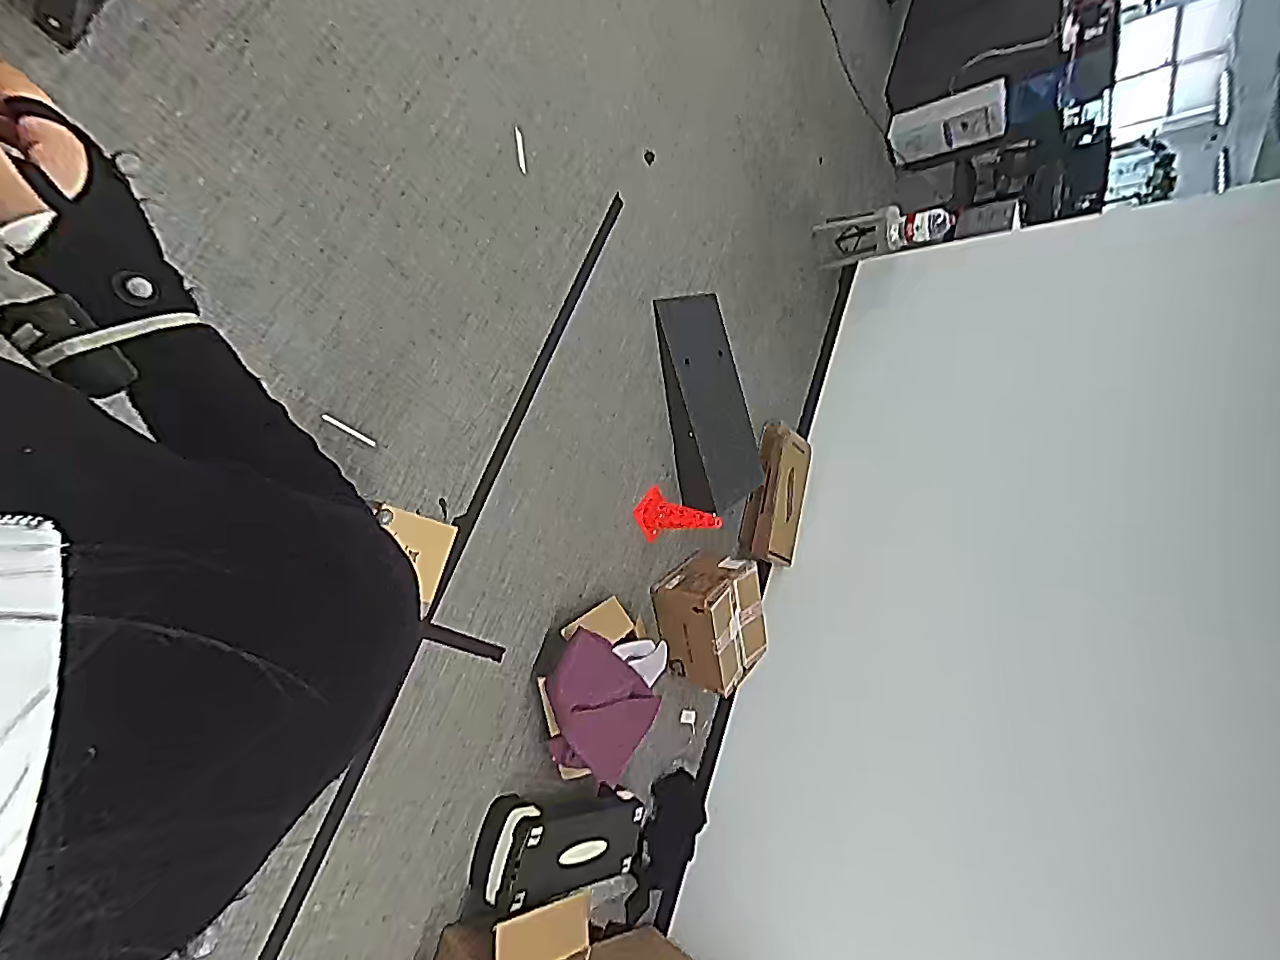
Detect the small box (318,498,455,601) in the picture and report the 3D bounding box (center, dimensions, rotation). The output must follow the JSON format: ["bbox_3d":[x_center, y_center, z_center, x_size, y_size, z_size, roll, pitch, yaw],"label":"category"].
[{"bbox_3d":[-0.530,0.142,1.132,0.179,0.176,0.168,31,70,-47],"label":"small box"}]
